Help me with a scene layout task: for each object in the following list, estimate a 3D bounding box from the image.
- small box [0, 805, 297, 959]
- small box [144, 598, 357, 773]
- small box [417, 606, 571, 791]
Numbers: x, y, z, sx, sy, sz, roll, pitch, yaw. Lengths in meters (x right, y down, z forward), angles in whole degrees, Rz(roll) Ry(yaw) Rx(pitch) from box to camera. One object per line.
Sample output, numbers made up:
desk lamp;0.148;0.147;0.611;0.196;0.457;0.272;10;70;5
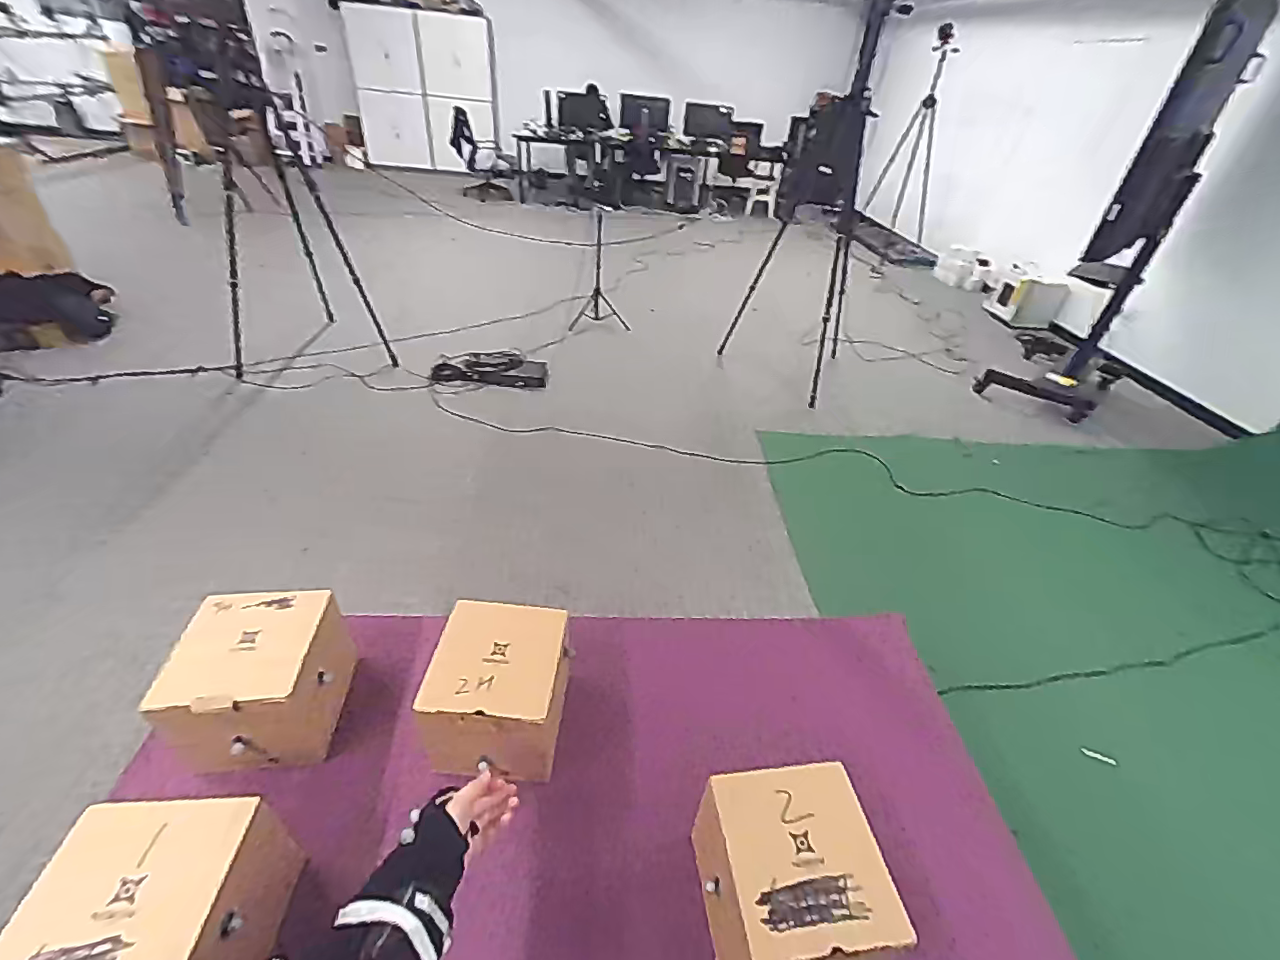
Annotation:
small box;-0.480;0.458;0.542;0.168;0.176;0.179;1;36;-6
small box;-0.521;0.290;0.761;0.168;0.176;0.179;0;38;-9
small box;-0.195;0.310;0.775;0.168;0.176;0.179;5;37;1
